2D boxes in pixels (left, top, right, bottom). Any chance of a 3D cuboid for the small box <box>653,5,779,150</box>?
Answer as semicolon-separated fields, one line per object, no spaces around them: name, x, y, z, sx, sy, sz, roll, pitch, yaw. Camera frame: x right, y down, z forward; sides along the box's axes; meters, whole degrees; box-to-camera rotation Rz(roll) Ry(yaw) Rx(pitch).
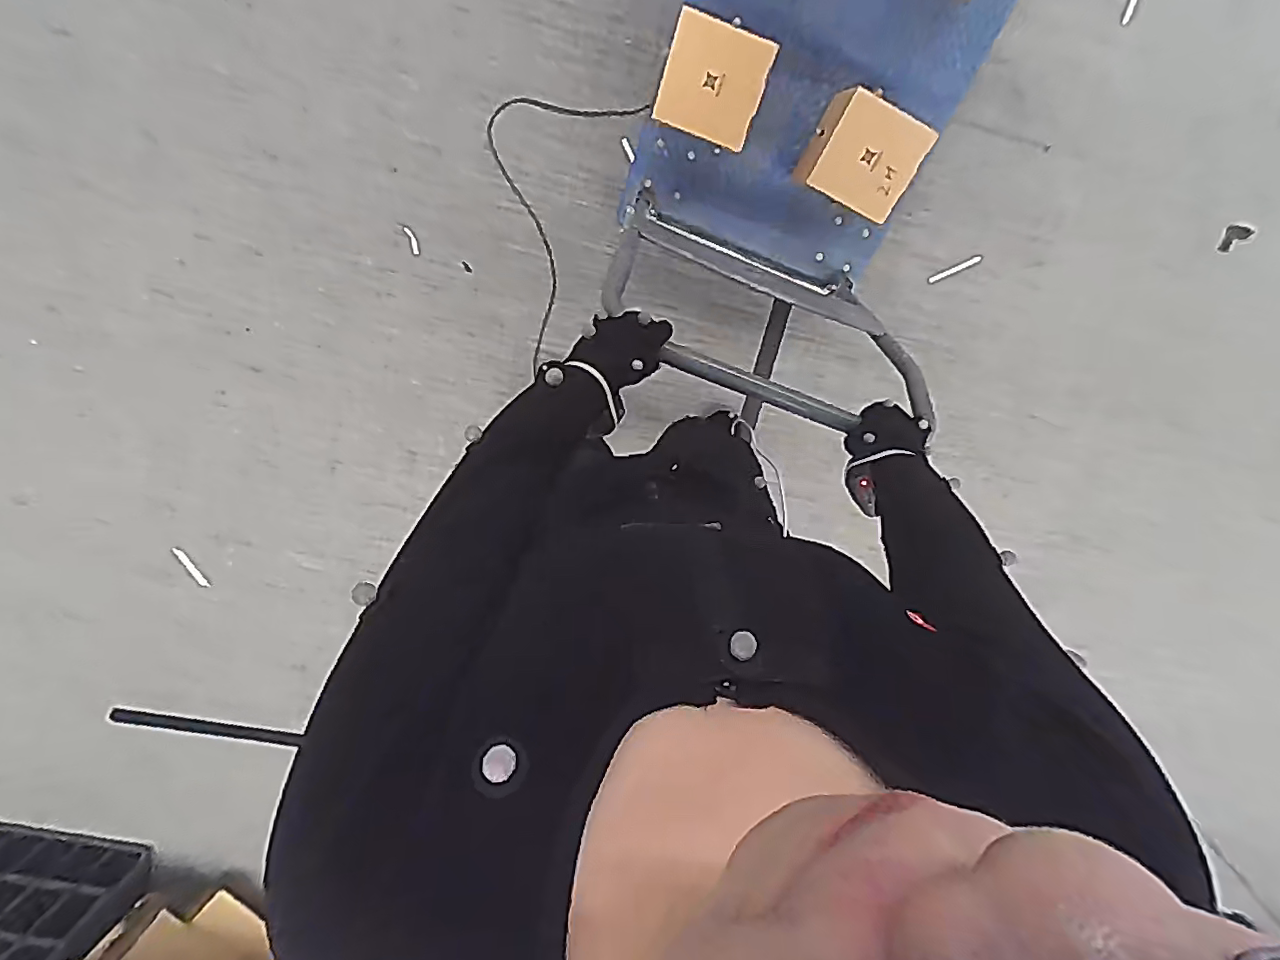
small box;0.130;-0.732;1.006;0.179;0.176;0.168;16;121;-8

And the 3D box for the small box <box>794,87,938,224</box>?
small box;0.425;-0.626;1.055;0.179;0.176;0.168;23;120;-11
